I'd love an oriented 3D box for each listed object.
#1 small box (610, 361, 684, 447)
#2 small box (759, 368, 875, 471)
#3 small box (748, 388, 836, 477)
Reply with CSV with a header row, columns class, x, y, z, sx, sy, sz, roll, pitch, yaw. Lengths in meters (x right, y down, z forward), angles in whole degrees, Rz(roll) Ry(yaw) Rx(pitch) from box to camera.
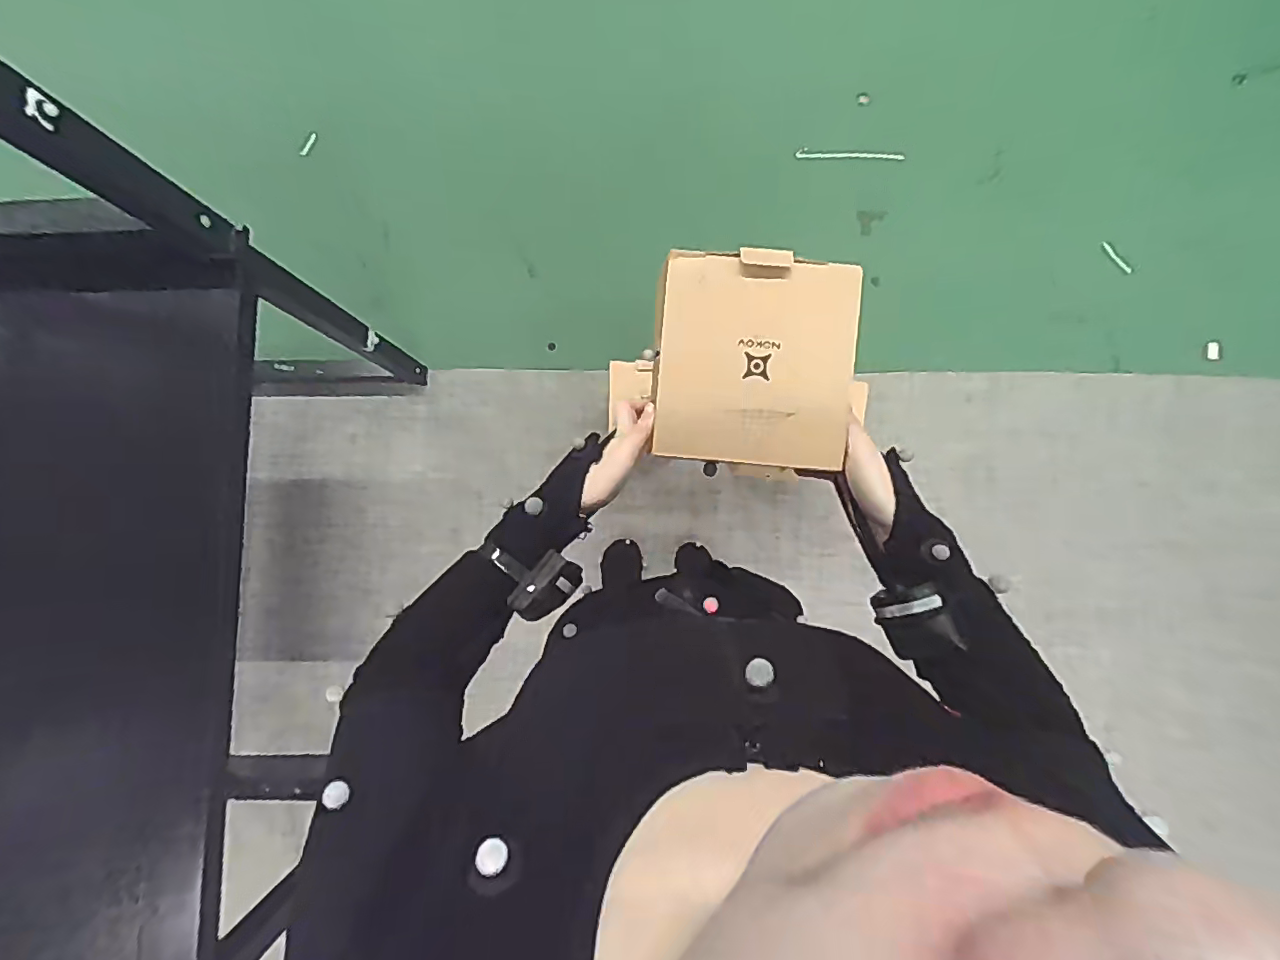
class,x,y,z,sx,sy,sz,roll,pitch,yaw
small box,0.020,-0.174,1.282,0.168,0.176,0.179,0,84,2
small box,0.350,-0.116,1.103,0.179,0.176,0.168,9,86,2
small box,0.361,-0.104,1.266,0.179,0.176,0.168,12,87,2
